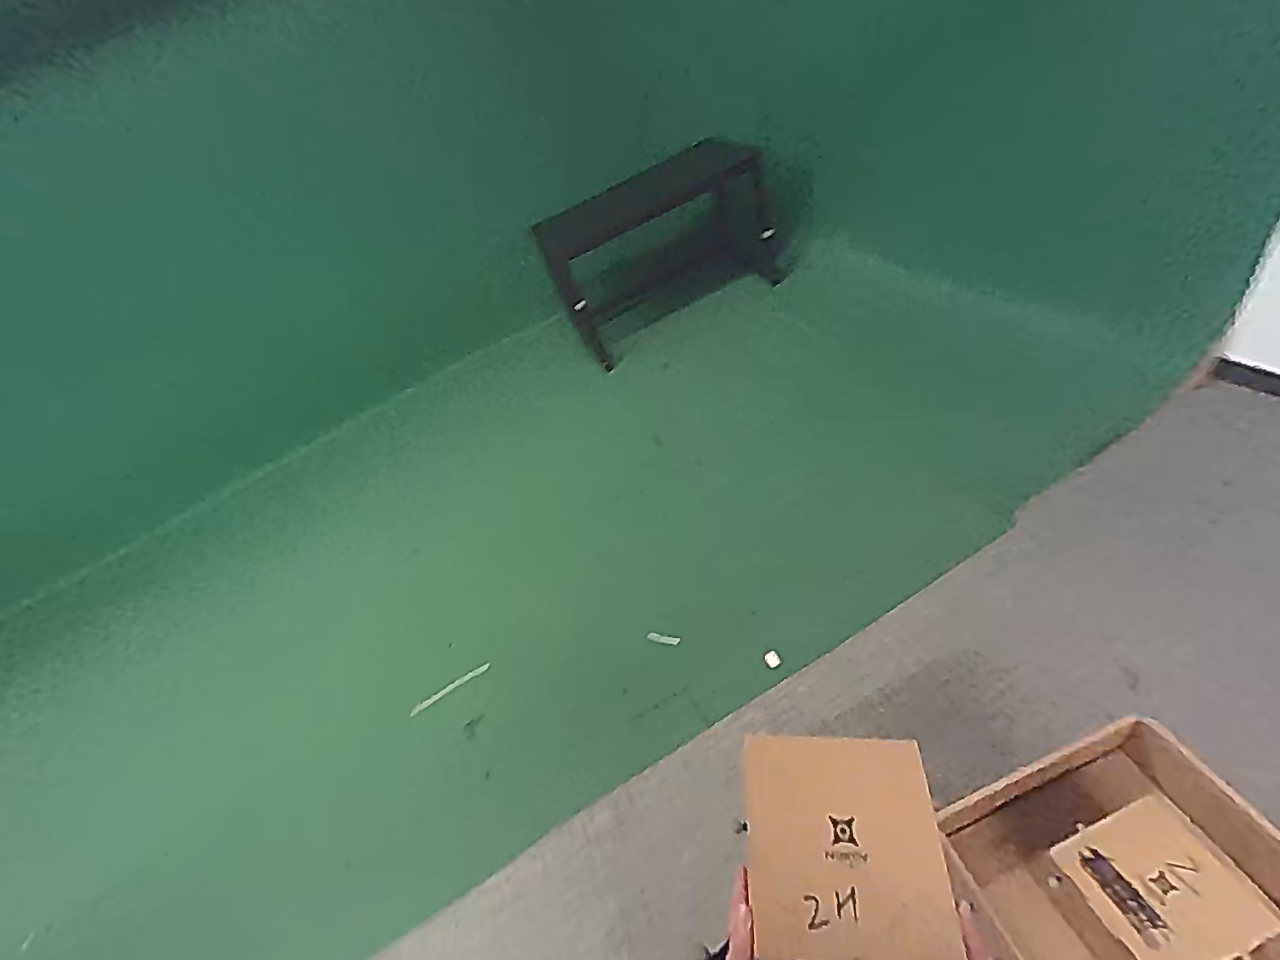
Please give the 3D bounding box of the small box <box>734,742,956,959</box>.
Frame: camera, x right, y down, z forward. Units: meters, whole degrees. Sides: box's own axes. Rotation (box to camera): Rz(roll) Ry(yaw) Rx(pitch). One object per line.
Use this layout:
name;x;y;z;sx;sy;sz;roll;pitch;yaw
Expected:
small box;0.183;0.378;0.541;0.168;0.176;0.179;-1;53;7
